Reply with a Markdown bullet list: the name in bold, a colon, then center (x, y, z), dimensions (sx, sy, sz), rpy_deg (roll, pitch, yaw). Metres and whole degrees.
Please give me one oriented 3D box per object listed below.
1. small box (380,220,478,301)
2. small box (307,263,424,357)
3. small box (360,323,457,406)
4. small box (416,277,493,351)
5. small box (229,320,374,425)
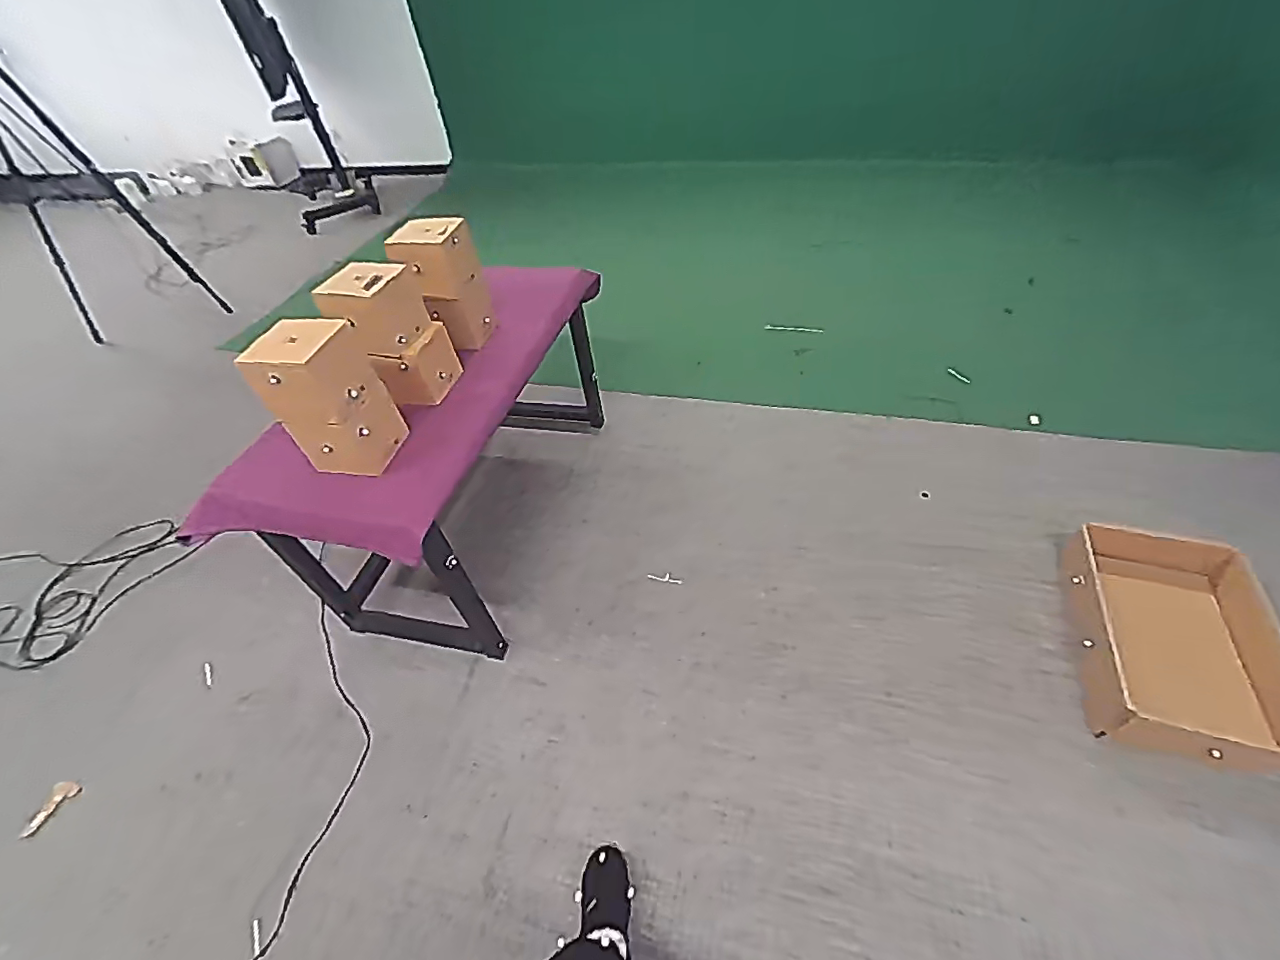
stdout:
- **small box**: center (-0.596, -0.626, 1.551), dimensions (0.179, 0.176, 0.168), rpy_deg (3, 48, 11)
- **small box**: center (-0.687, -0.432, 1.381), dimensions (0.179, 0.176, 0.168), rpy_deg (8, 48, 15)
- **small box**: center (-0.642, -0.321, 1.497), dimensions (0.179, 0.176, 0.168), rpy_deg (6, 48, 11)
- **small box**: center (-0.580, -0.513, 1.669), dimensions (0.179, 0.176, 0.168), rpy_deg (5, 48, 11)
- **small box**: center (-0.736, -0.236, 1.197), dimensions (0.179, 0.176, 0.168), rpy_deg (4, 48, 11)
